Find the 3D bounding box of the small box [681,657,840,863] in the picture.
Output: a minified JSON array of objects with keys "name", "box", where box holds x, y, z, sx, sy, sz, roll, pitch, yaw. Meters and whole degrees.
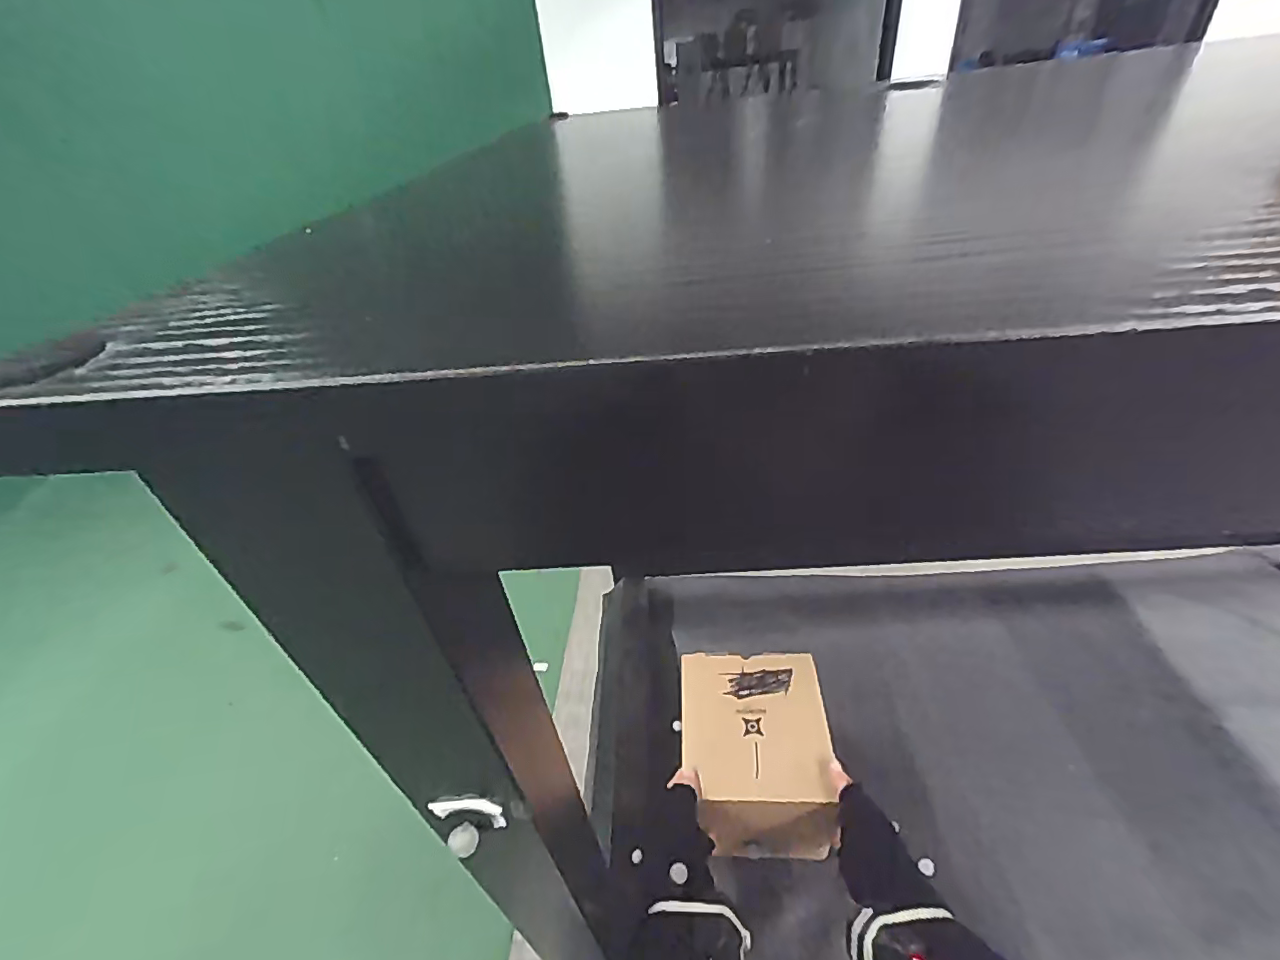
[{"name":"small box","box":[0.136,0.344,0.673,0.168,0.176,0.179,-3,39,6]}]
